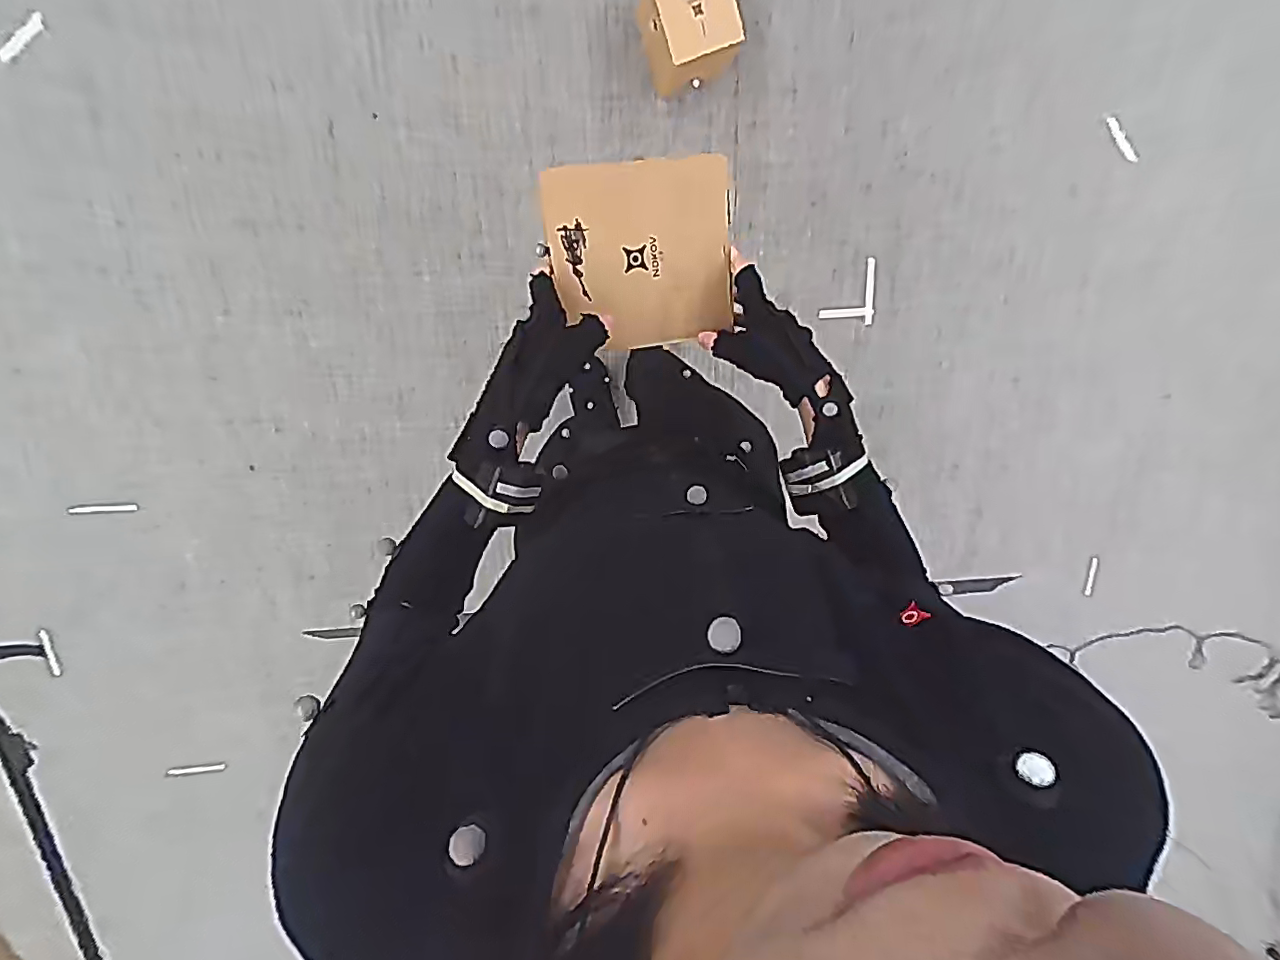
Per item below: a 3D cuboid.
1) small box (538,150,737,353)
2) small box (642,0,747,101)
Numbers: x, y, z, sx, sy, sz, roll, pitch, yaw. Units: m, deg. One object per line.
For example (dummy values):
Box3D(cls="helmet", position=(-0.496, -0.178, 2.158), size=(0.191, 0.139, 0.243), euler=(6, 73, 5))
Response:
Box3D(cls="small box", position=(-0.009, -0.239, 0.579), size=(0.179, 0.176, 0.168), euler=(-10, 111, -8))
Box3D(cls="small box", position=(0.113, -0.990, 1.197), size=(0.168, 0.176, 0.179), euler=(-21, 107, -2))
